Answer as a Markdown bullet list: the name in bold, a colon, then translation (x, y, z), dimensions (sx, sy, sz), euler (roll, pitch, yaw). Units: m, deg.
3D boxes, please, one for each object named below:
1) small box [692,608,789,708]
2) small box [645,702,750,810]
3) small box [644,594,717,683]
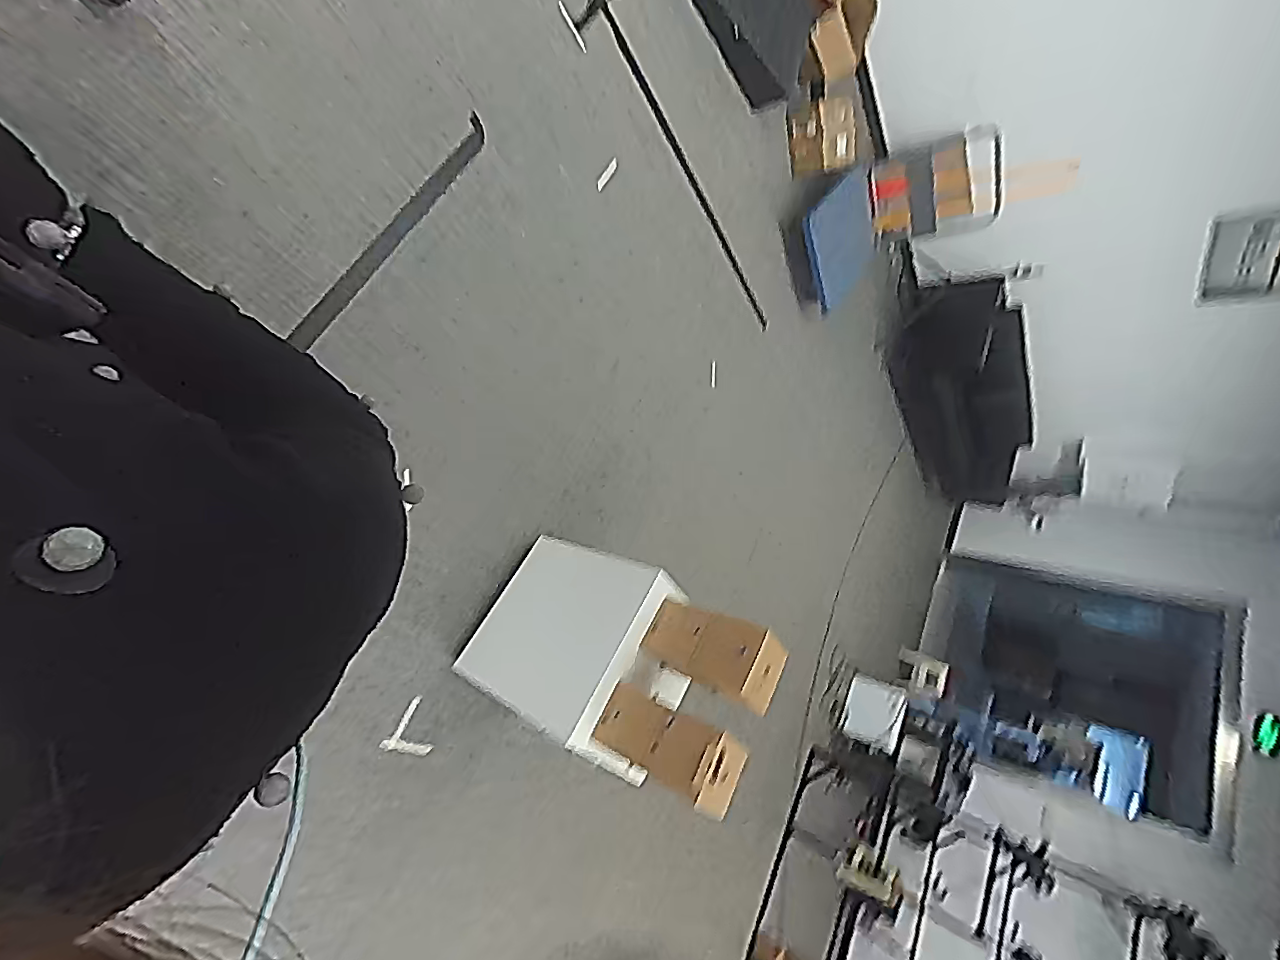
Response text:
- **small box**: translation (0.263, 0.462, 1.424), dimensions (0.168, 0.176, 0.179), euler (52, 59, -39)
- **small box**: translation (0.139, 0.668, 1.322), dimensions (0.179, 0.176, 0.168), euler (50, 60, -41)
- **small box**: translation (0.142, 0.446, 1.535), dimensions (0.168, 0.176, 0.179), euler (-59, 135, -24)
